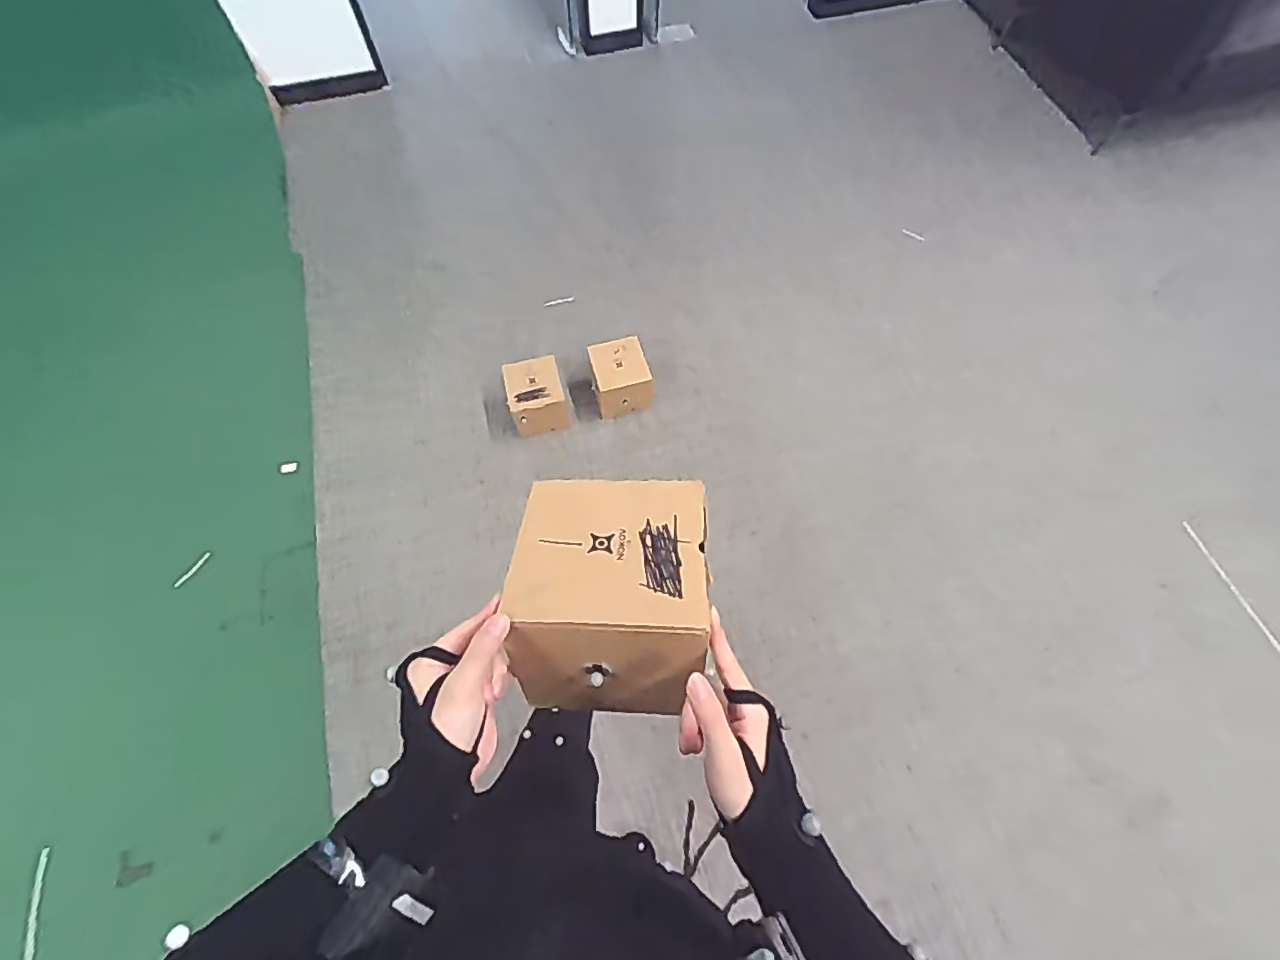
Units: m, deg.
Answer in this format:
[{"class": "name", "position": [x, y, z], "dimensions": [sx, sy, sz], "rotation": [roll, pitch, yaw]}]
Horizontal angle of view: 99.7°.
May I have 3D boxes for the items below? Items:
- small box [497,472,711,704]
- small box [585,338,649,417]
[{"class": "small box", "position": [-0.023, 0.110, 0.546], "dimensions": [0.179, 0.176, 0.168], "rotation": [1, 44, 5]}, {"class": "small box", "position": [-0.071, -0.320, 1.731], "dimensions": [0.168, 0.176, 0.179], "rotation": [-14, 66, -8]}]
